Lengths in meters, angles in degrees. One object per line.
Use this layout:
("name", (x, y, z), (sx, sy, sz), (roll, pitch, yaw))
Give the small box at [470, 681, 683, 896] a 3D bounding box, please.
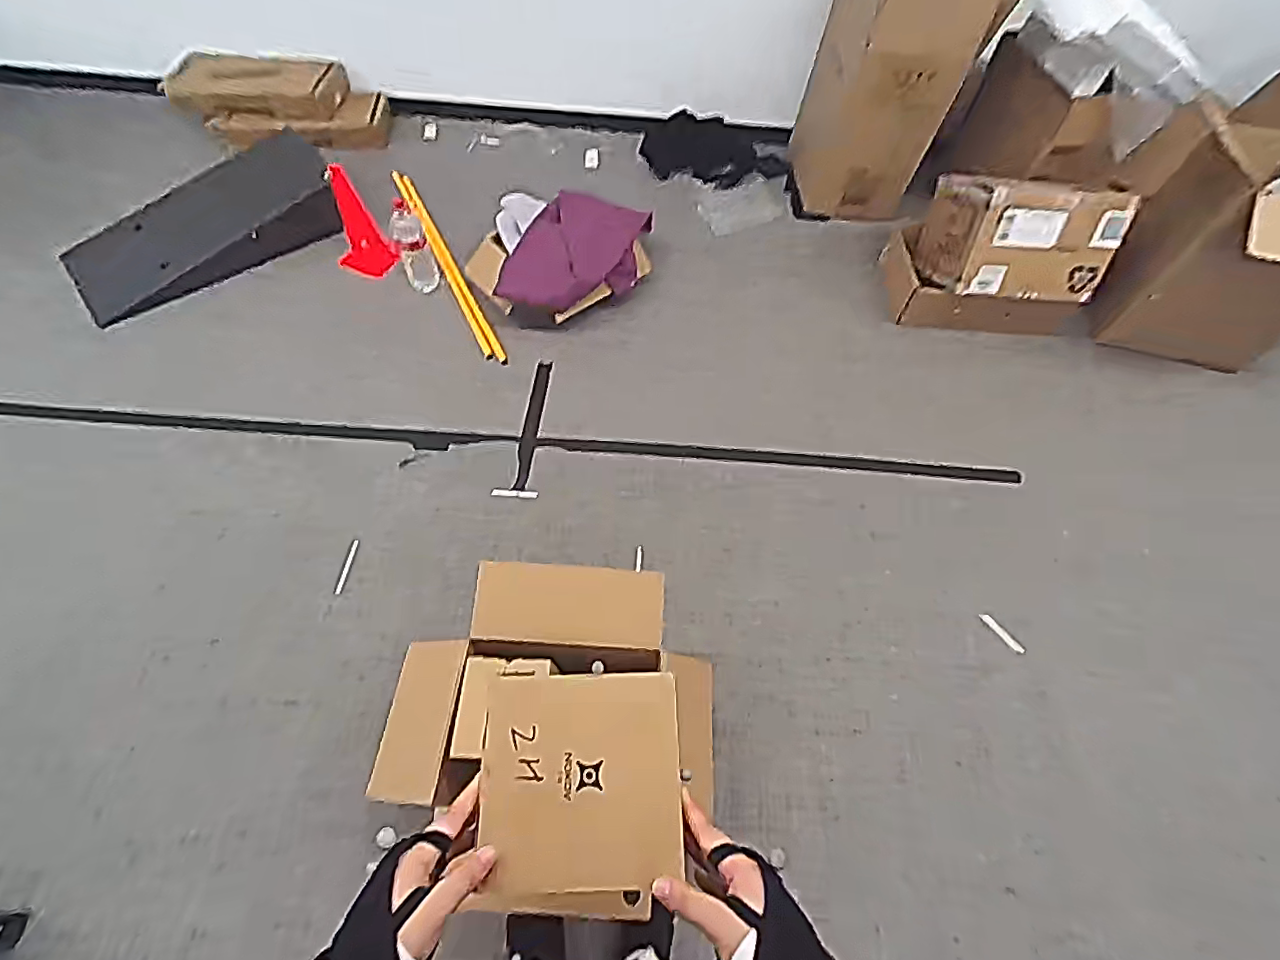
("small box", (-0.052, 0.297, 0.544), (0.179, 0.176, 0.168), (-2, 63, 1))
